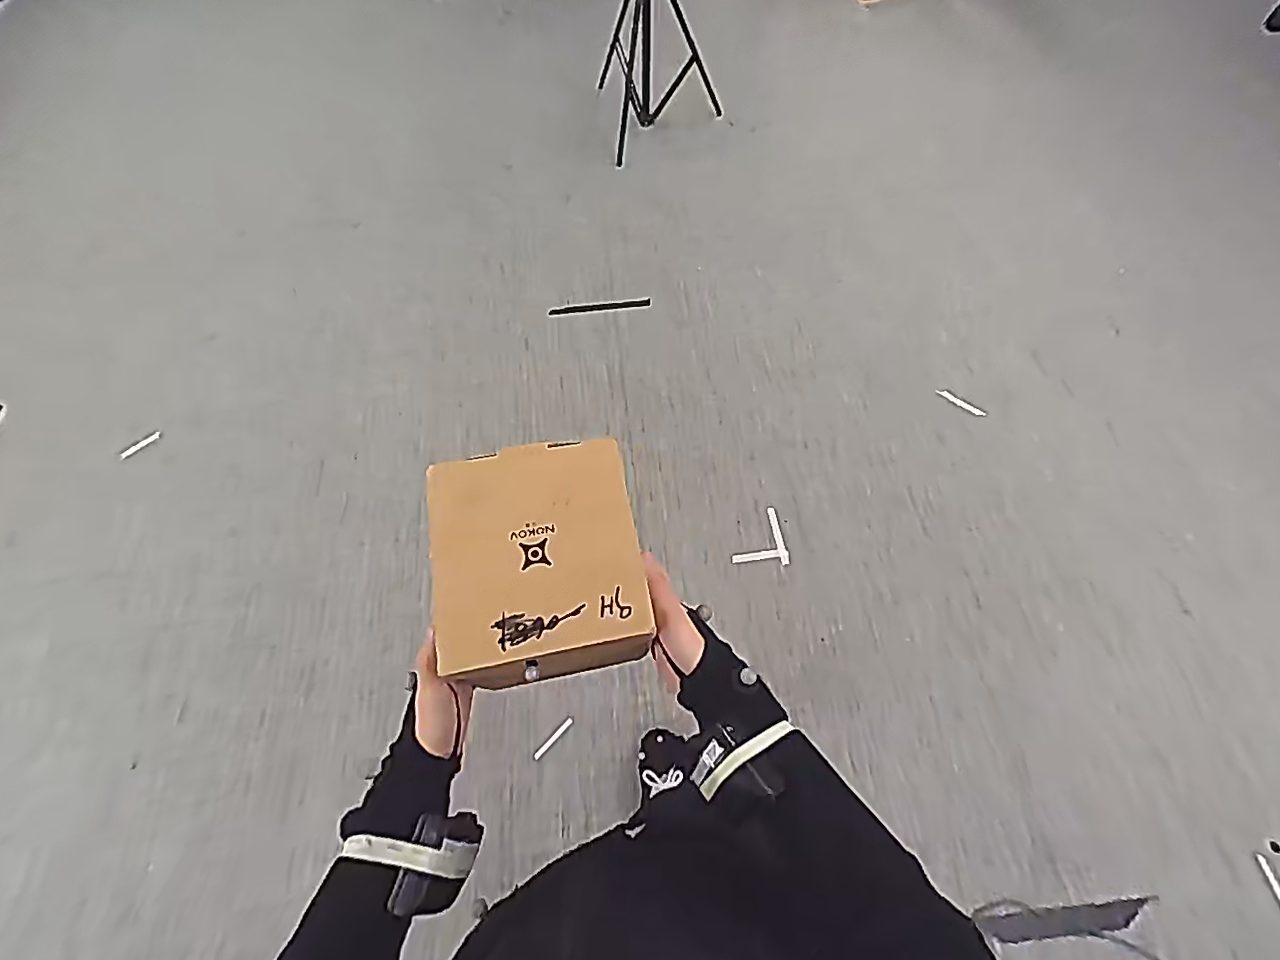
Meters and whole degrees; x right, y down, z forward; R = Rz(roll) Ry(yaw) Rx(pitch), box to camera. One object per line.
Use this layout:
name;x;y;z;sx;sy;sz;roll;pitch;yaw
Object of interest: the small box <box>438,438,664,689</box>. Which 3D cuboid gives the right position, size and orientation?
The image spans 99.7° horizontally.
small box;-0.081;0.086;0.508;0.168;0.176;0.179;-10;66;-7
